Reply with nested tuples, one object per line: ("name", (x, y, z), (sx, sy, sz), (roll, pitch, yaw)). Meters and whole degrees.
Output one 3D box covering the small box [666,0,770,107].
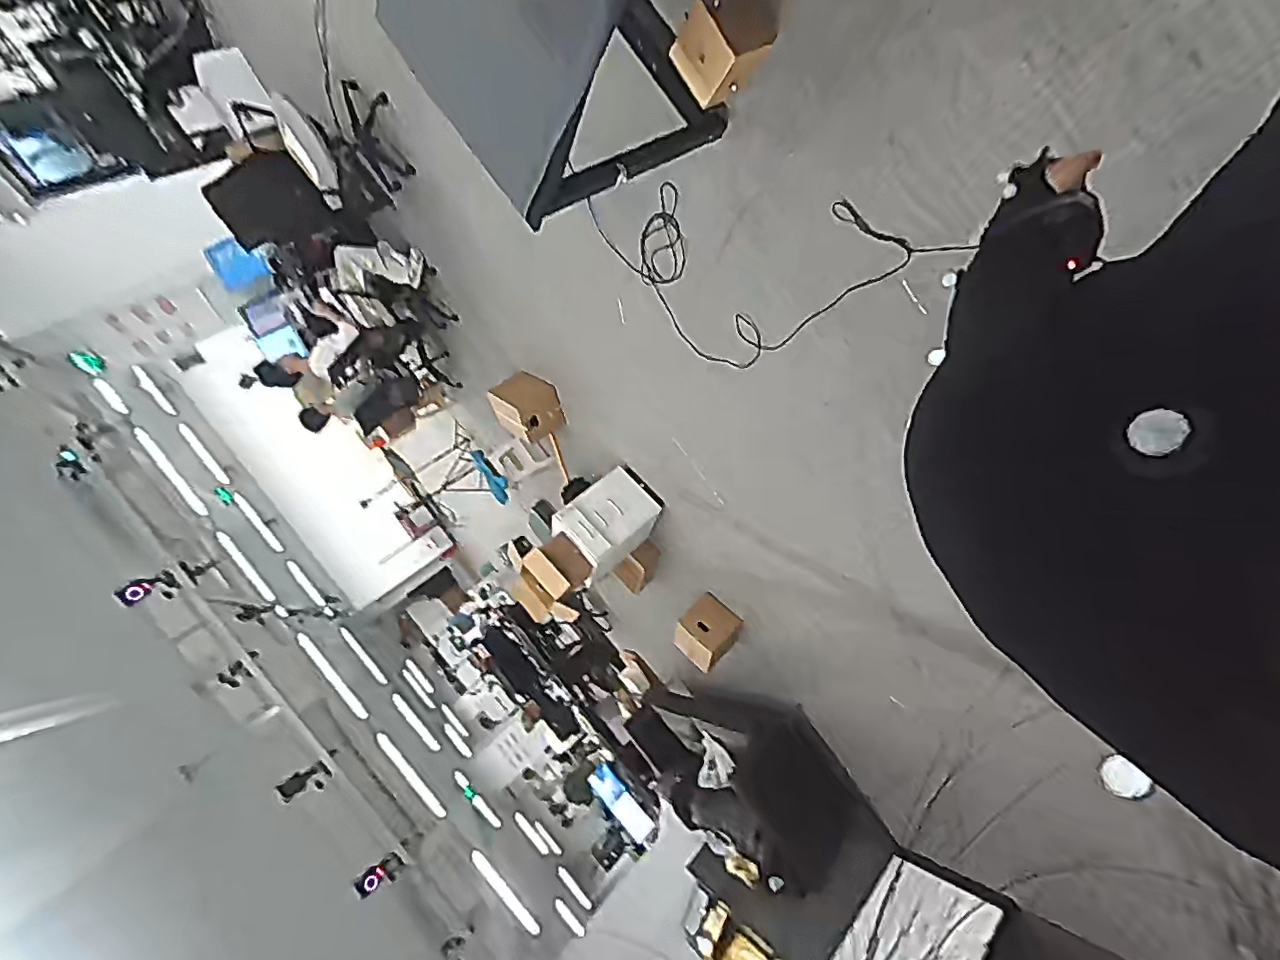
("small box", (0.209, -1.146, 1.430), (0.179, 0.176, 0.168), (55, 155, -6))
